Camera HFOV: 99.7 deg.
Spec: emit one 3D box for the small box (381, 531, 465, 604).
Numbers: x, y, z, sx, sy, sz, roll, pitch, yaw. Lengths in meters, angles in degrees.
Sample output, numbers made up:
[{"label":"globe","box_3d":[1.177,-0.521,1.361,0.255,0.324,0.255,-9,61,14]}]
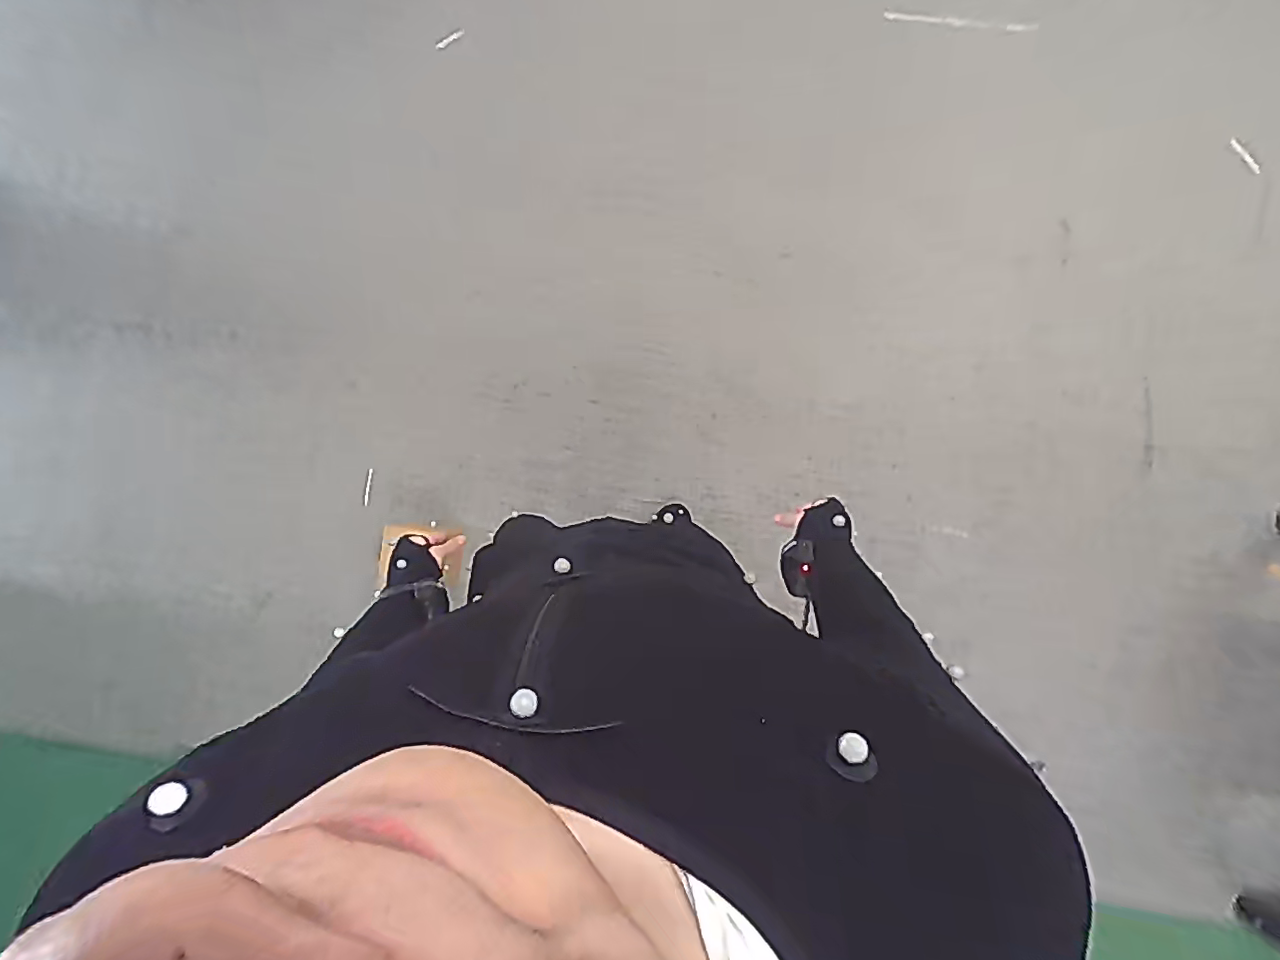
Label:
[{"label":"small box","box_3d":[-0.623,0.248,1.569,0.168,0.176,0.179,6,88,2]}]
